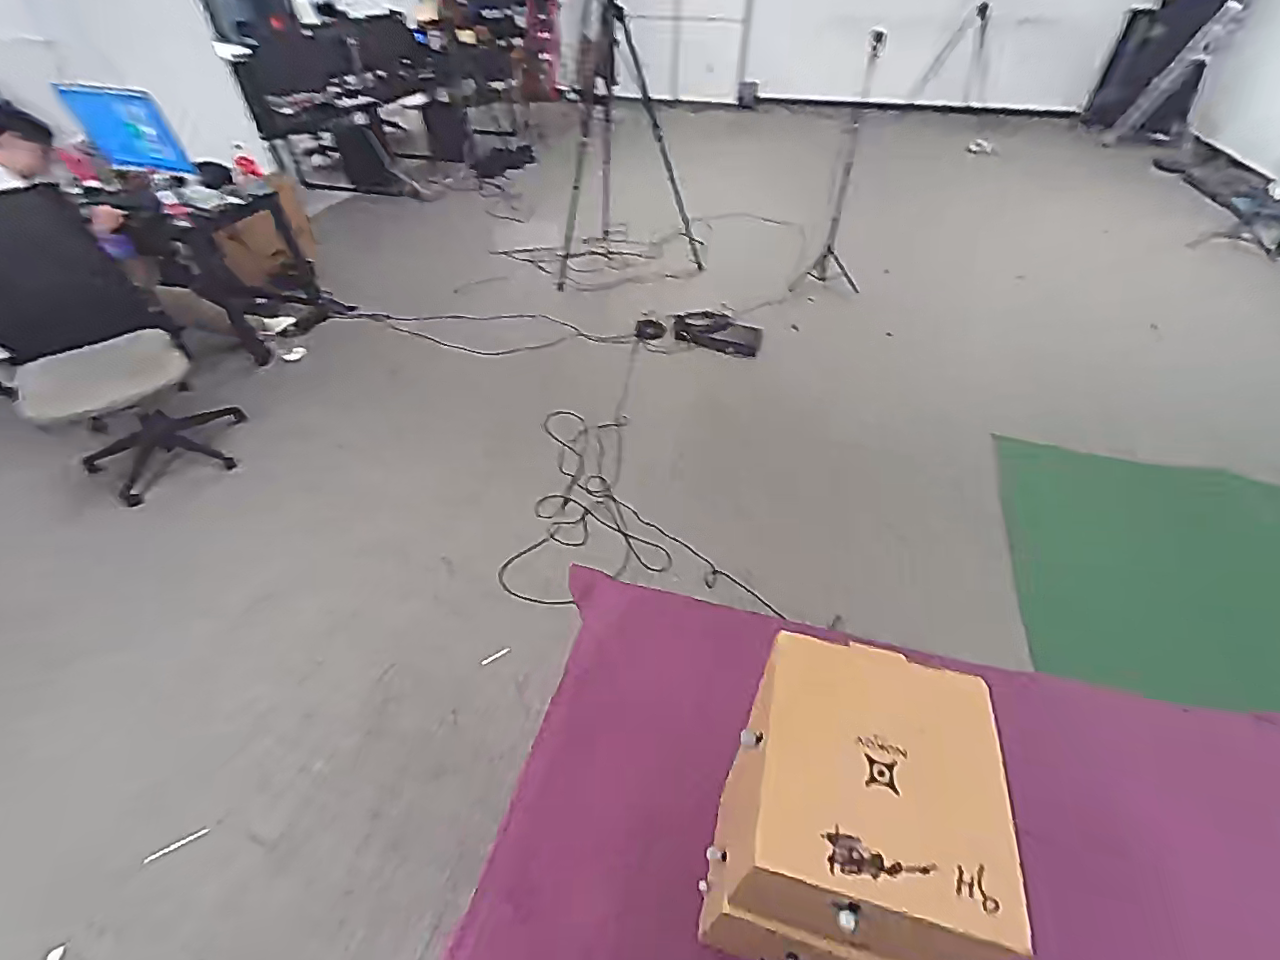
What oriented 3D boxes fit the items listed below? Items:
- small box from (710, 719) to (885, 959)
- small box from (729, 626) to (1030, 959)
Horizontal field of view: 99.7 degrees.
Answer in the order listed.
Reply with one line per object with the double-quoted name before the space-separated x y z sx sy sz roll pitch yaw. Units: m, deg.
"small box" 0.170 0.375 0.552 0.168 0.176 0.179 12 47 12
"small box" 0.171 0.253 0.441 0.168 0.176 0.179 10 46 12
